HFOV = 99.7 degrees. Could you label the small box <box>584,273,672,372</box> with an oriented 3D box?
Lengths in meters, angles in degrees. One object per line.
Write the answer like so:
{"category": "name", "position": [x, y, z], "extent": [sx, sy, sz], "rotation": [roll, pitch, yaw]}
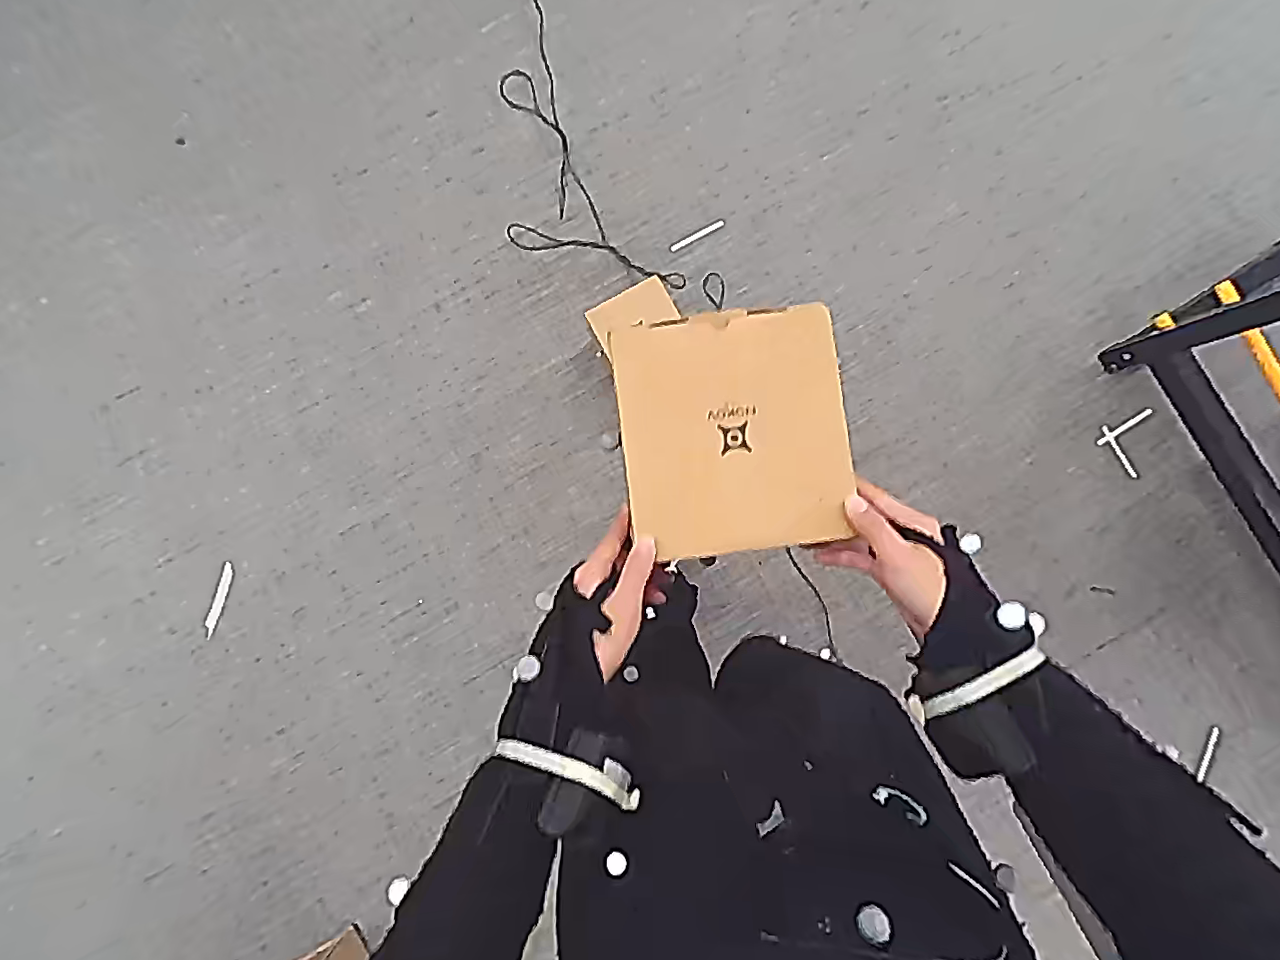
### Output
{"category": "small box", "position": [-0.001, -0.290, 1.128], "extent": [0.168, 0.176, 0.179], "rotation": [-28, 88, -1]}

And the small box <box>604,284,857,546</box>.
{"category": "small box", "position": [0.064, -0.043, 0.467], "extent": [0.168, 0.176, 0.179], "rotation": [-7, 85, -1]}
